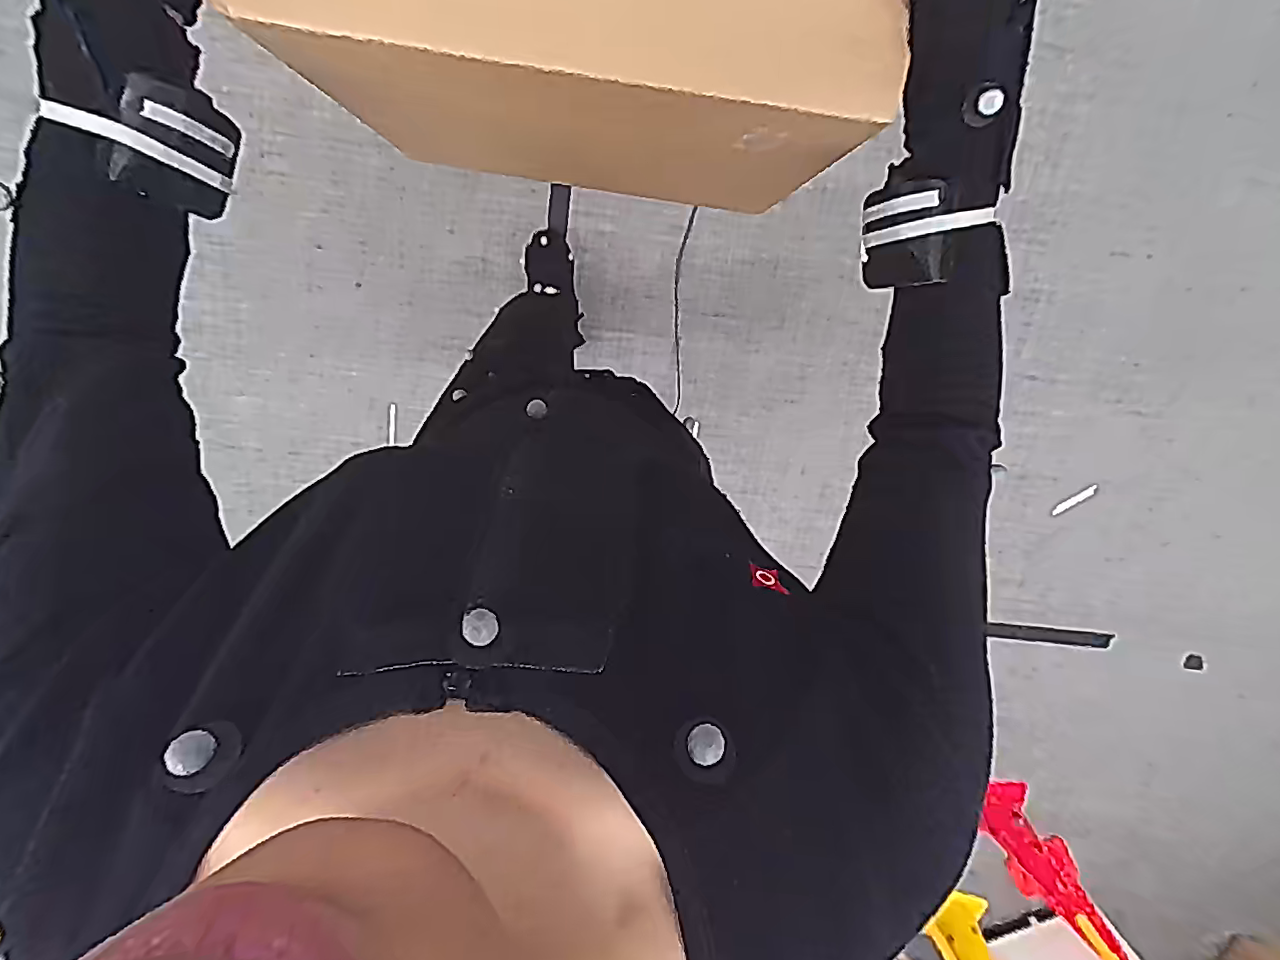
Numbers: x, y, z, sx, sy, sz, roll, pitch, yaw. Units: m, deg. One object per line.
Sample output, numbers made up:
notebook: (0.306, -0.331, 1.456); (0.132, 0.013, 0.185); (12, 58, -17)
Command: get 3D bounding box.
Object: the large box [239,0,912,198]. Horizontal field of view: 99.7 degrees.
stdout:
large box: (-0.031, -0.442, 0.426); (0.408, 0.320, 0.320); (5, 107, -5)
